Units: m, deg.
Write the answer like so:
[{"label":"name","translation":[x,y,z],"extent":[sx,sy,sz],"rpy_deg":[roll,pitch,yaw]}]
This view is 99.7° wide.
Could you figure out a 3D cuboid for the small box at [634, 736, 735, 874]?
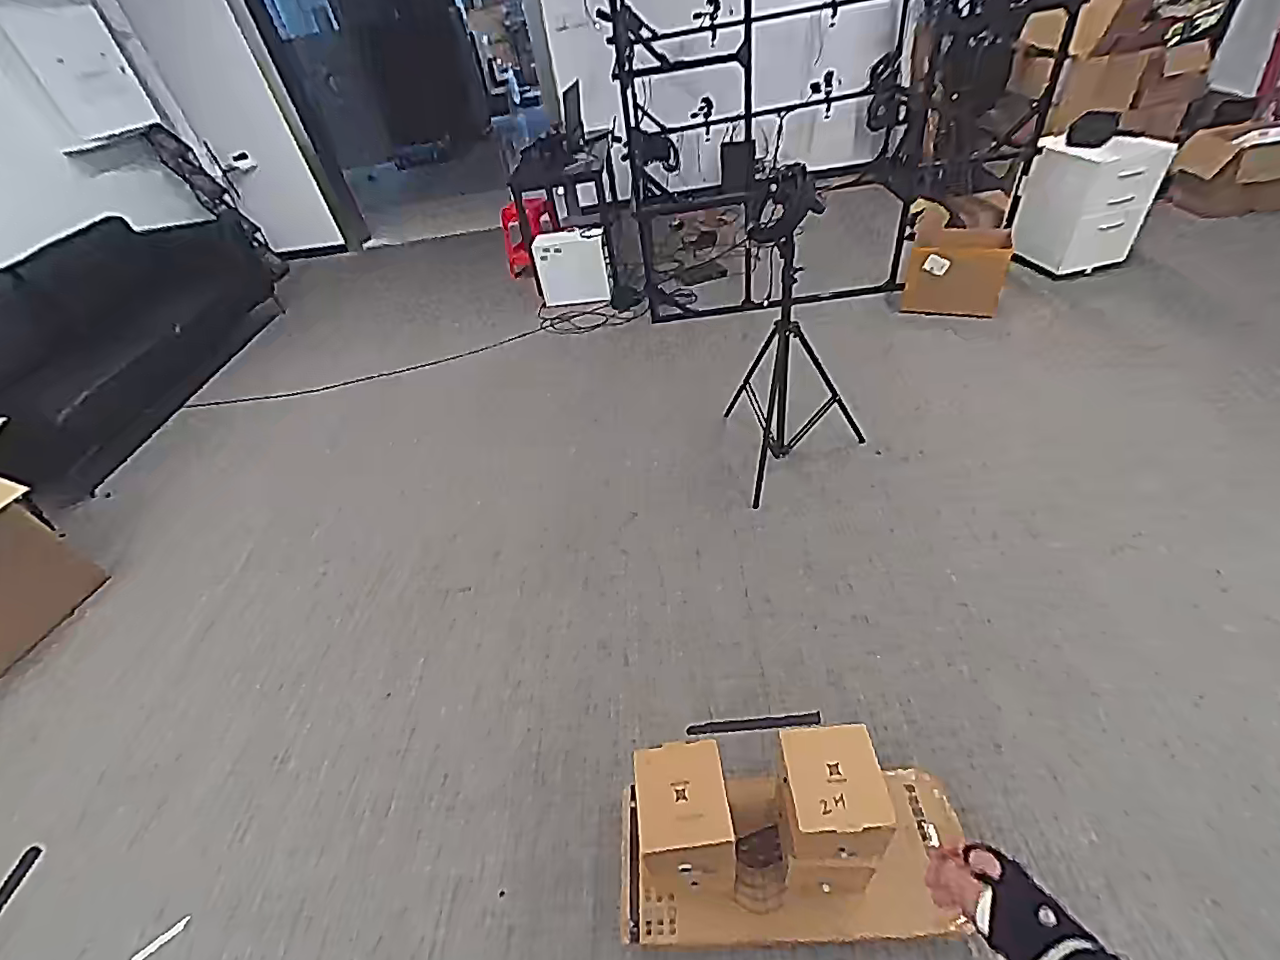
[{"label":"small box","translation":[0.085,0.626,1.041],"extent":[0.168,0.176,0.179],"rpy_deg":[-10,42,1]}]

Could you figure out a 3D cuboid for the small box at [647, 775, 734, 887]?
[{"label":"small box","translation":[0.109,0.747,1.149],"extent":[0.168,0.176,0.179],"rpy_deg":[-5,42,6]}]

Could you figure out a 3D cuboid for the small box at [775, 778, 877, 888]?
[{"label":"small box","translation":[0.375,0.721,1.126],"extent":[0.168,0.176,0.179],"rpy_deg":[-4,43,8]}]

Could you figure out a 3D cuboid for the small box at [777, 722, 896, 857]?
[{"label":"small box","translation":[0.359,0.588,1.027],"extent":[0.168,0.176,0.179],"rpy_deg":[-7,42,5]}]
